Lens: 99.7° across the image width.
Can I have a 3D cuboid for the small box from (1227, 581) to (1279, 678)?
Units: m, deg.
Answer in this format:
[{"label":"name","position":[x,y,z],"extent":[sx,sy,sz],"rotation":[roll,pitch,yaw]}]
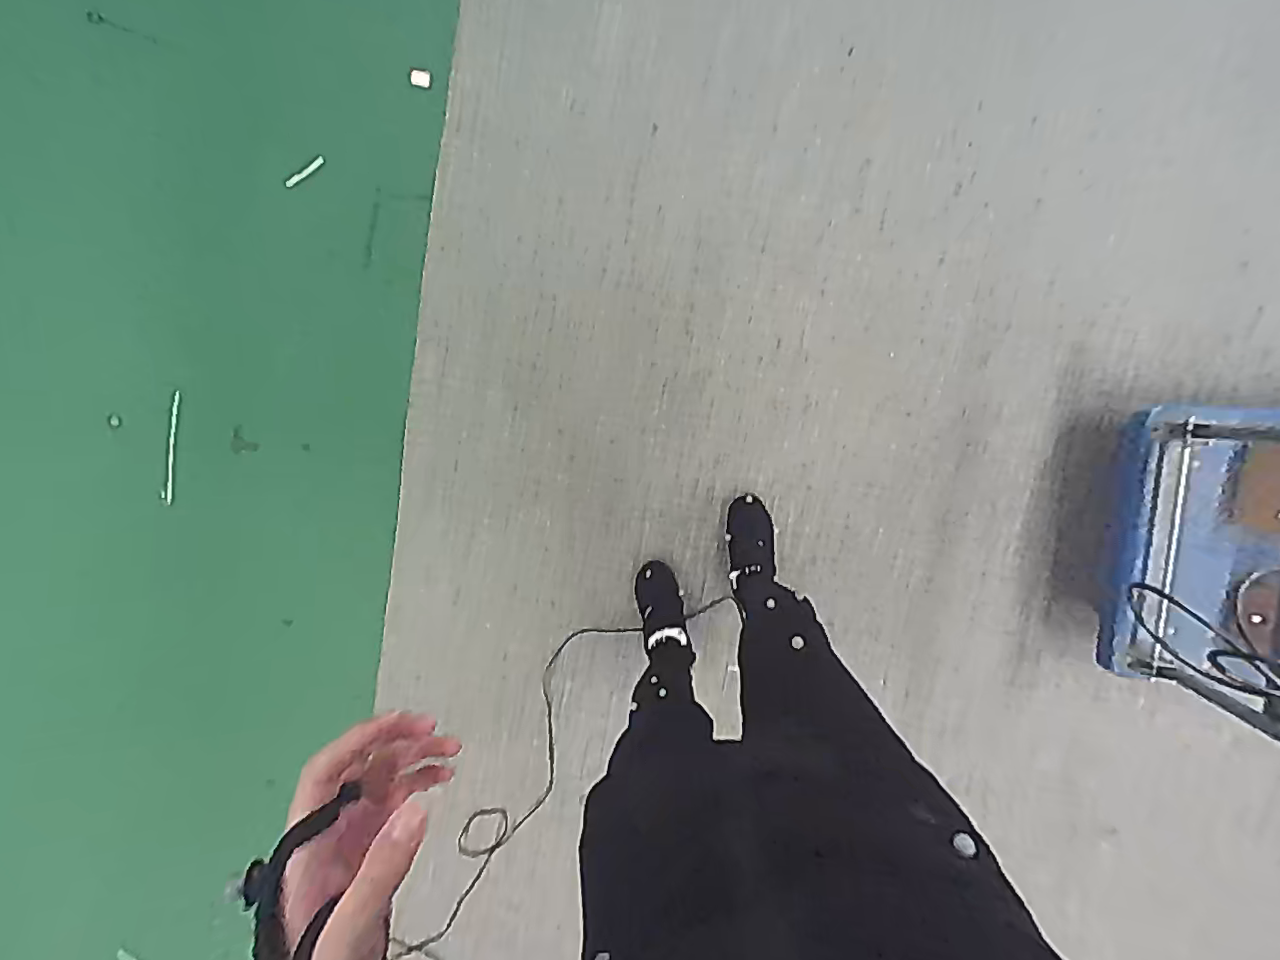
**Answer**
[{"label":"small box","position":[1.295,0.297,1.020],"extent":[0.179,0.176,0.168],"rotation":[5,97,6]}]
